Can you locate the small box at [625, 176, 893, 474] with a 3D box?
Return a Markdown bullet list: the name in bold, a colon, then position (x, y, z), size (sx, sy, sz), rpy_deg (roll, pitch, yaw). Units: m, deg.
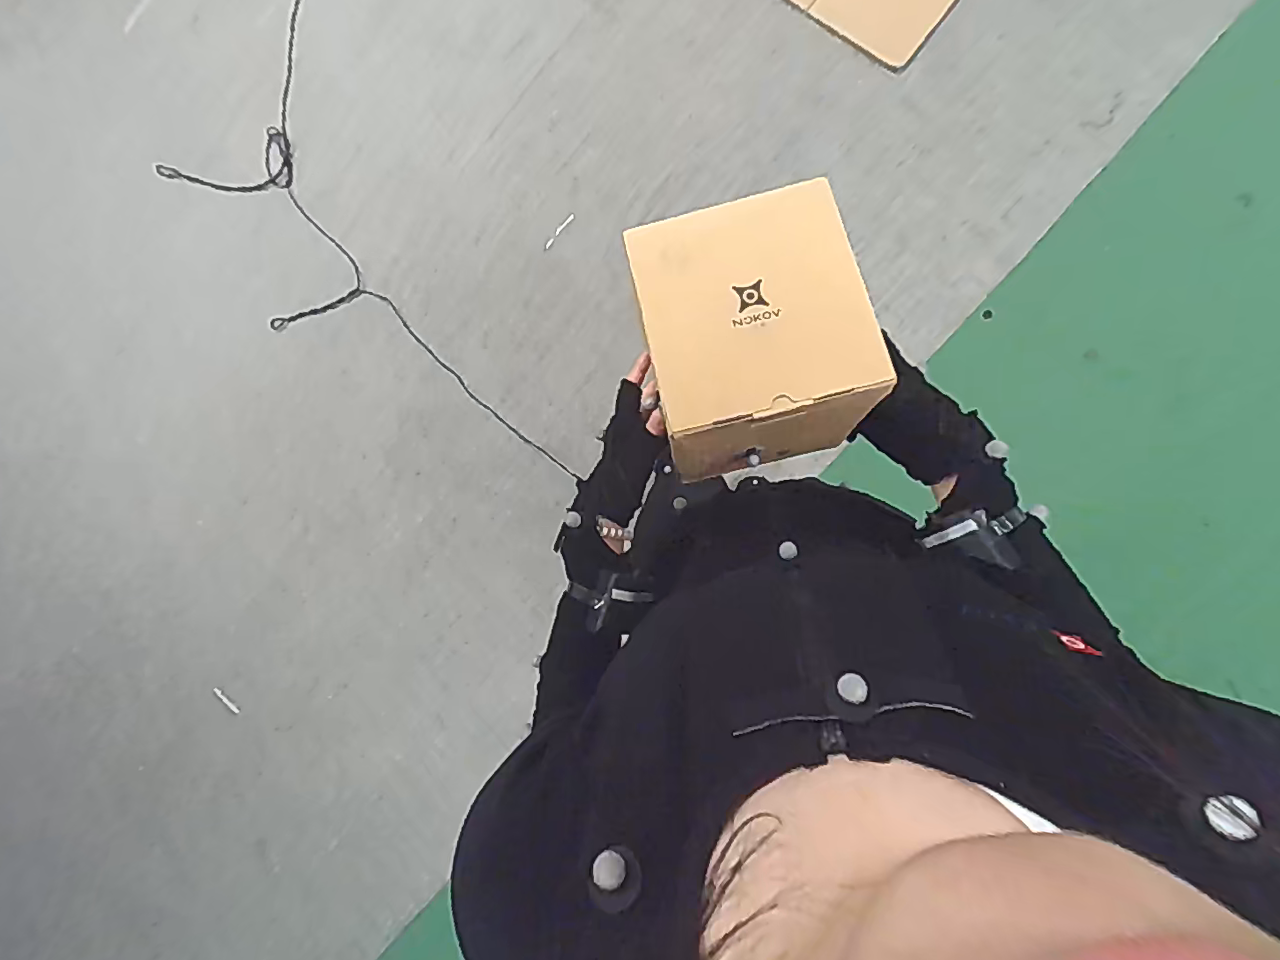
- **small box**: position (0.090, -0.120, 0.481), size (0.168, 0.176, 0.179), rpy_deg (-14, 78, 3)
